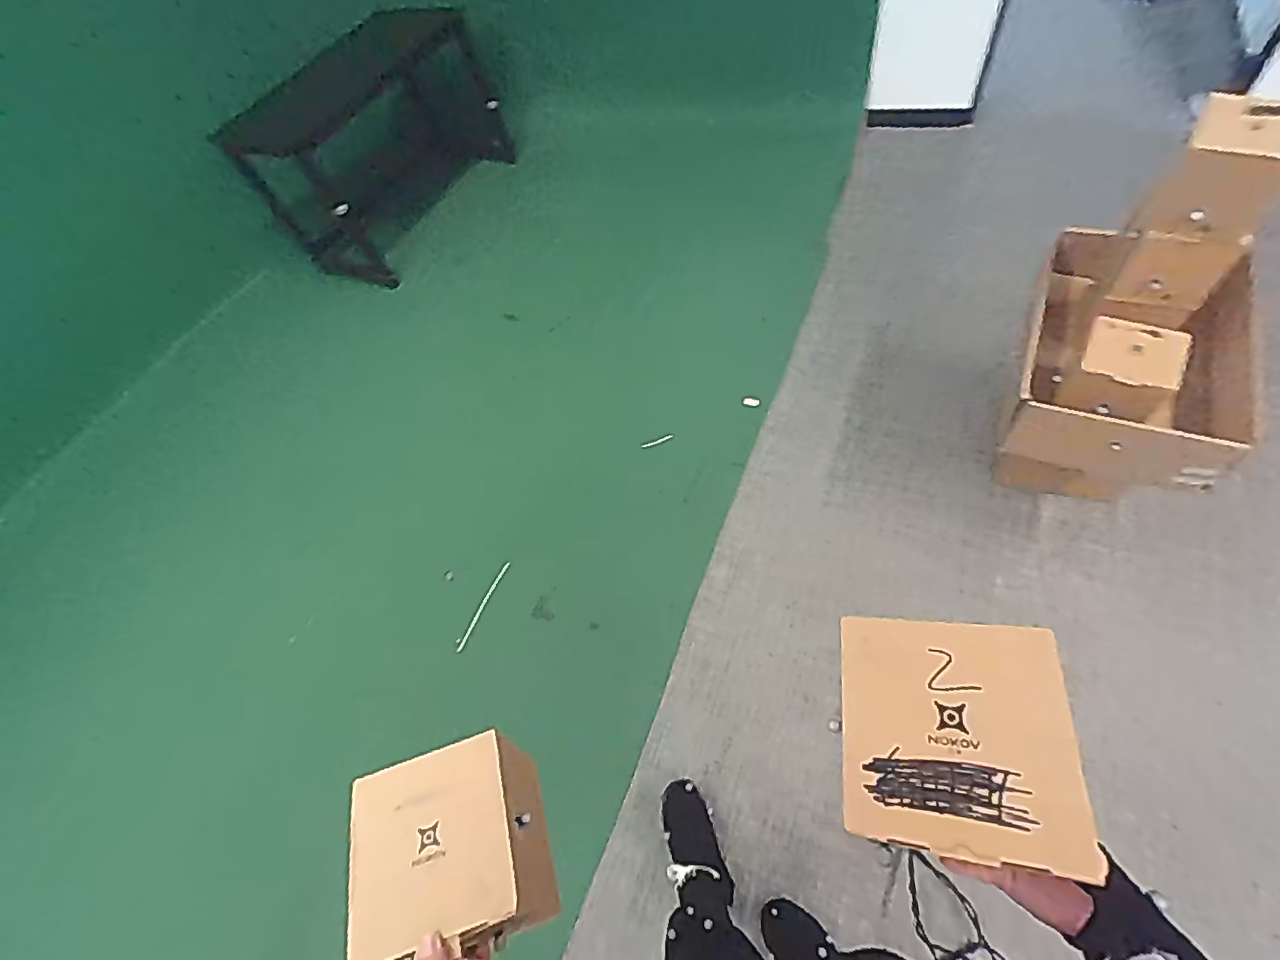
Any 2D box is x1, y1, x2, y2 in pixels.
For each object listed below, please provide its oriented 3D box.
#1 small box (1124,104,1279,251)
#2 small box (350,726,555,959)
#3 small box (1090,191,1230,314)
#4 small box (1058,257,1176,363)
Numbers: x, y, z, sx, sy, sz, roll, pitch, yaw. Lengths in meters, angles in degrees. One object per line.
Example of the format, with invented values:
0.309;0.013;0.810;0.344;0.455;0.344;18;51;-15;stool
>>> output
1.093;-0.583;1.048;0.168;0.176;0.179;26;70;25;small box
-0.206;0.417;0.623;0.168;0.176;0.179;-17;50;-6;small box
1.127;-0.497;1.183;0.168;0.176;0.179;17;66;21;small box
1.159;-0.418;1.321;0.168;0.176;0.179;17;65;22;small box
